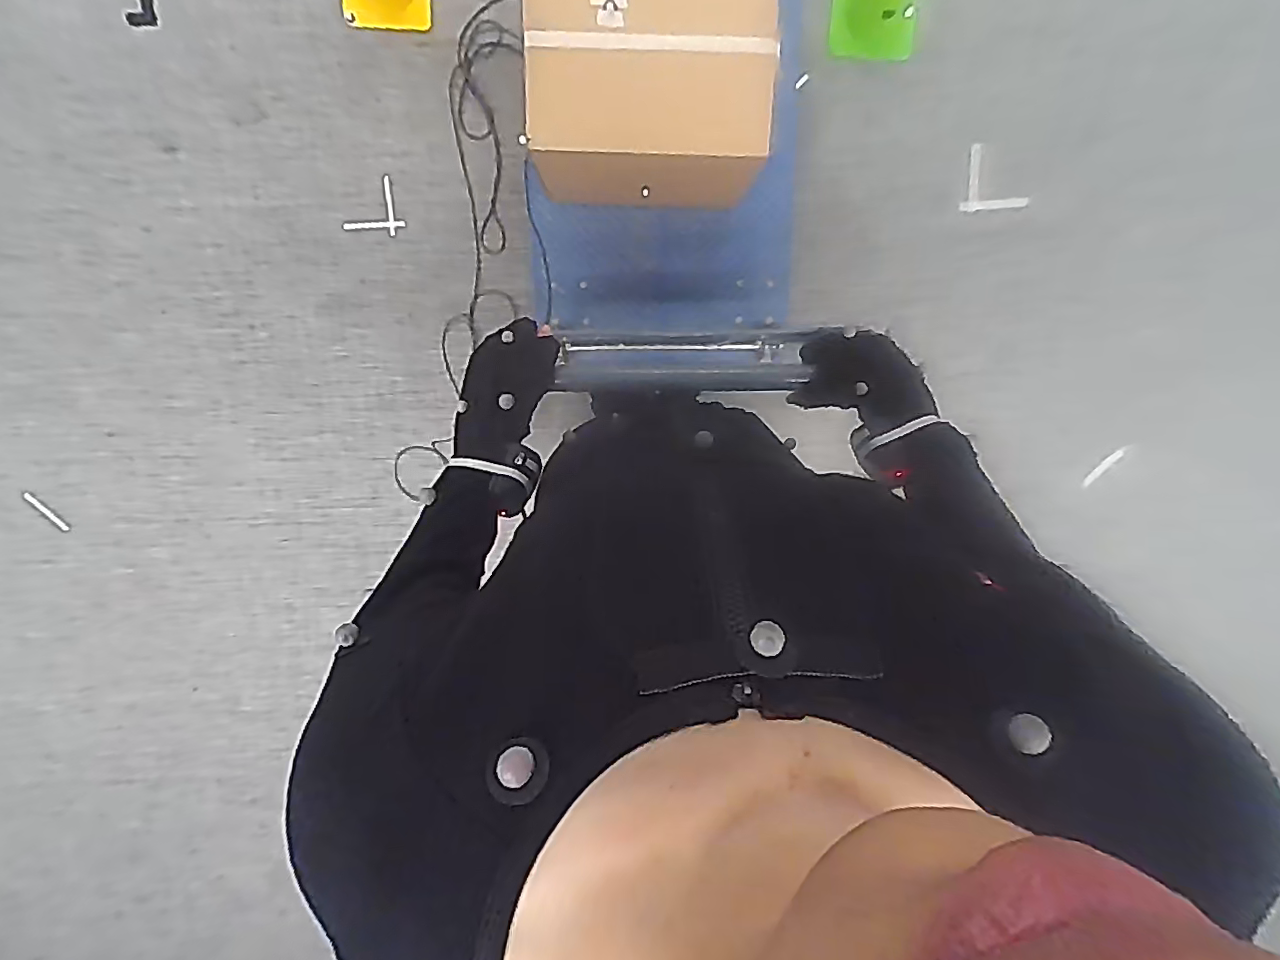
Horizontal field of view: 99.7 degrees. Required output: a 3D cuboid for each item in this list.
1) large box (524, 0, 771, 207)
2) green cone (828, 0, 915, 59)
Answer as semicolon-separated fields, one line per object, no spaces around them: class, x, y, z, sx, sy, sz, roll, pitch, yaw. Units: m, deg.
large box;0.013;-0.720;1.021;0.408;0.320;0.320;1;101;-1
green cone;0.556;-1.079;1.108;0.202;0.368;0.200;2;101;-3
